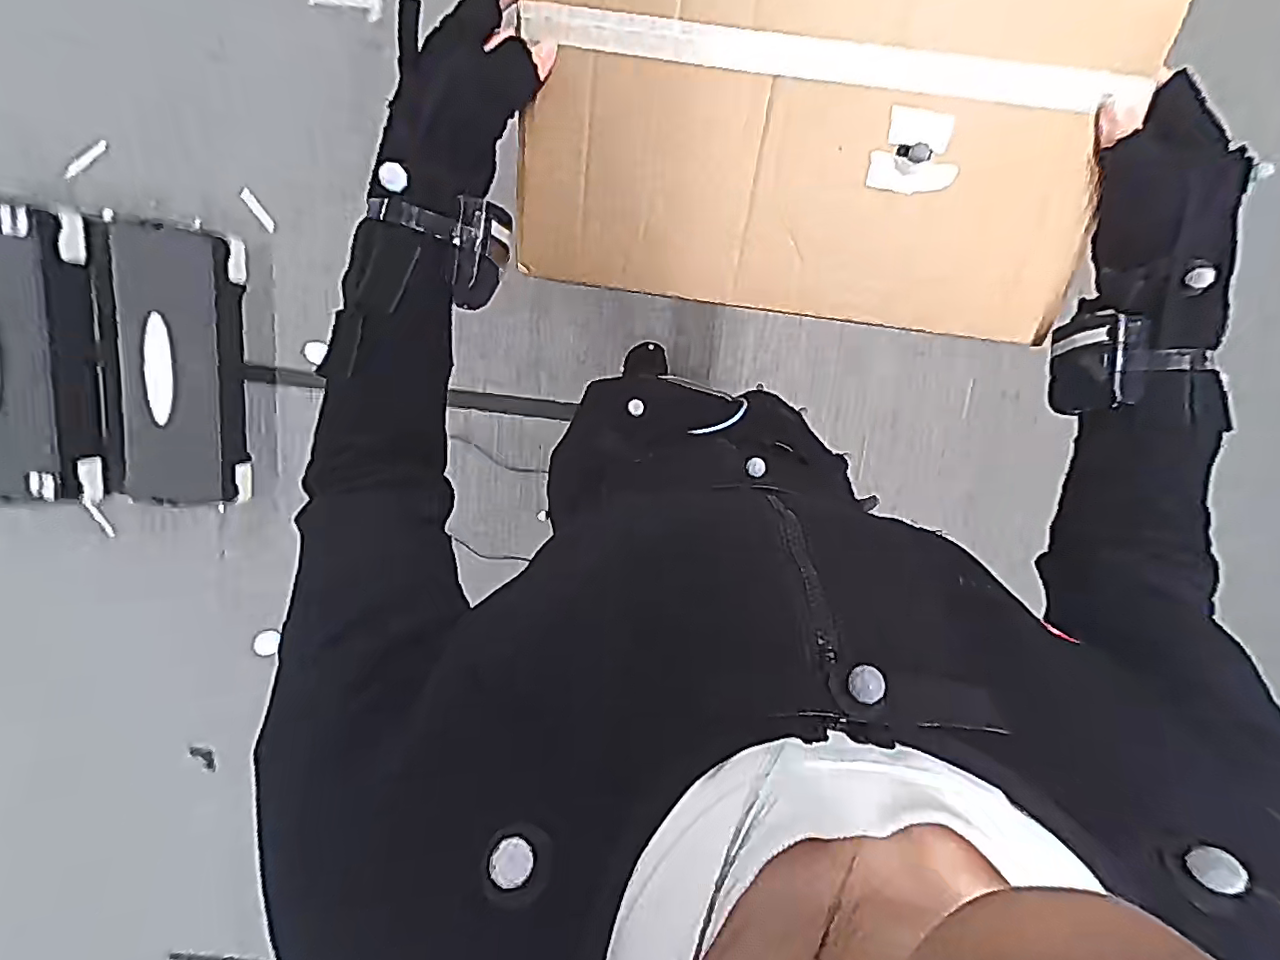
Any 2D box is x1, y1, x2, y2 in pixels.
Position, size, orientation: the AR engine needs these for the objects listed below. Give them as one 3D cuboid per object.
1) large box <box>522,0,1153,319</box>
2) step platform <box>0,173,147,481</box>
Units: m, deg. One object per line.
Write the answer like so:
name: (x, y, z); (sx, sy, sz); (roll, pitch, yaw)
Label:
large box: (0.124, -0.343, 0.494); (0.408, 0.320, 0.320); (6, 116, 0)
step platform: (-1.401, -0.337, 1.266); (0.286, 0.204, 0.684); (5, 100, -3)
